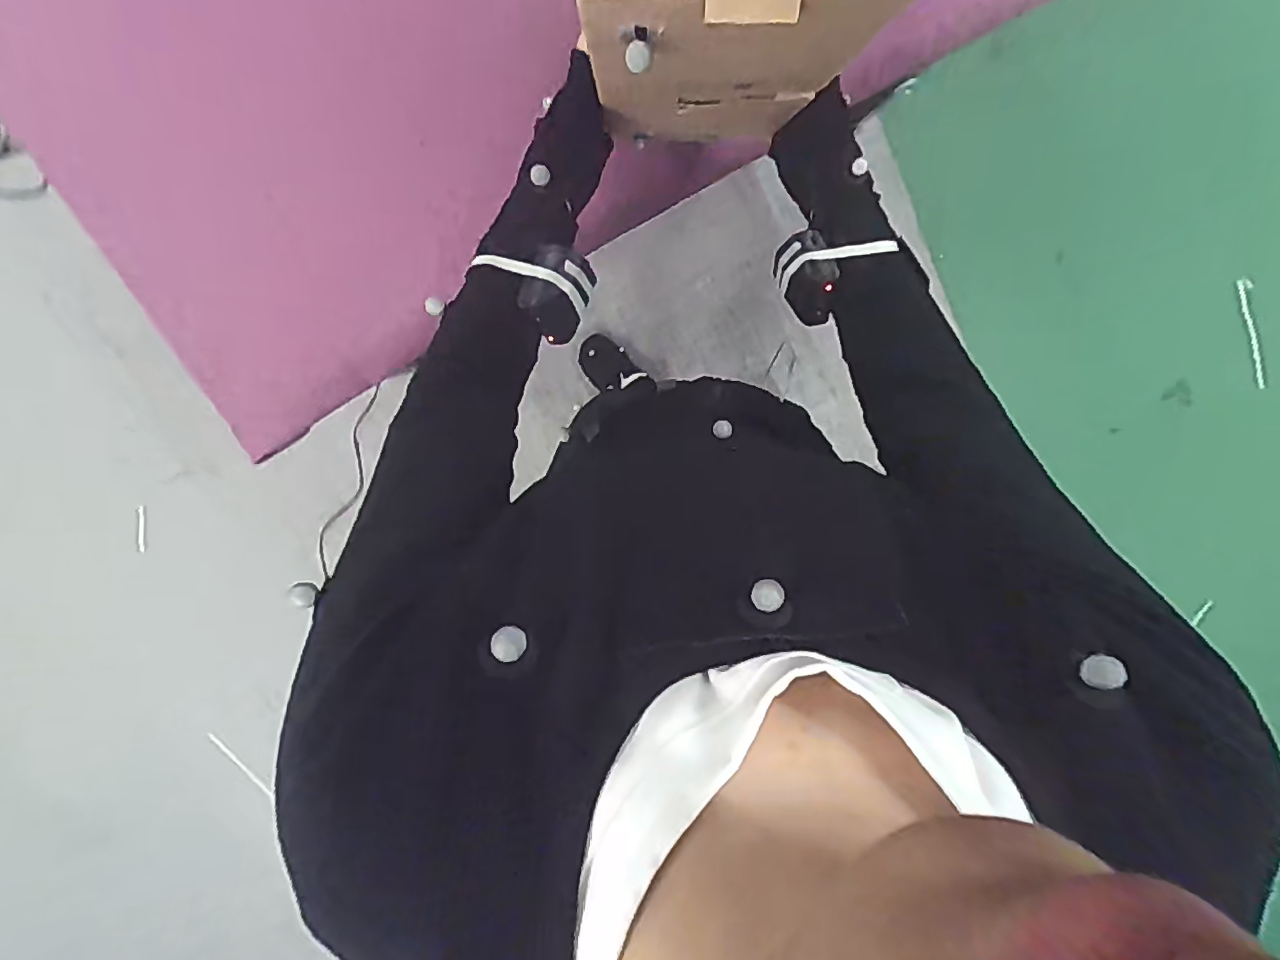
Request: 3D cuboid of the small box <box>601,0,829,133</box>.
[{"bbox_3d":[0.055,-0.403,0.446,0.168,0.176,0.179,0,112,0],"label":"small box"}]
